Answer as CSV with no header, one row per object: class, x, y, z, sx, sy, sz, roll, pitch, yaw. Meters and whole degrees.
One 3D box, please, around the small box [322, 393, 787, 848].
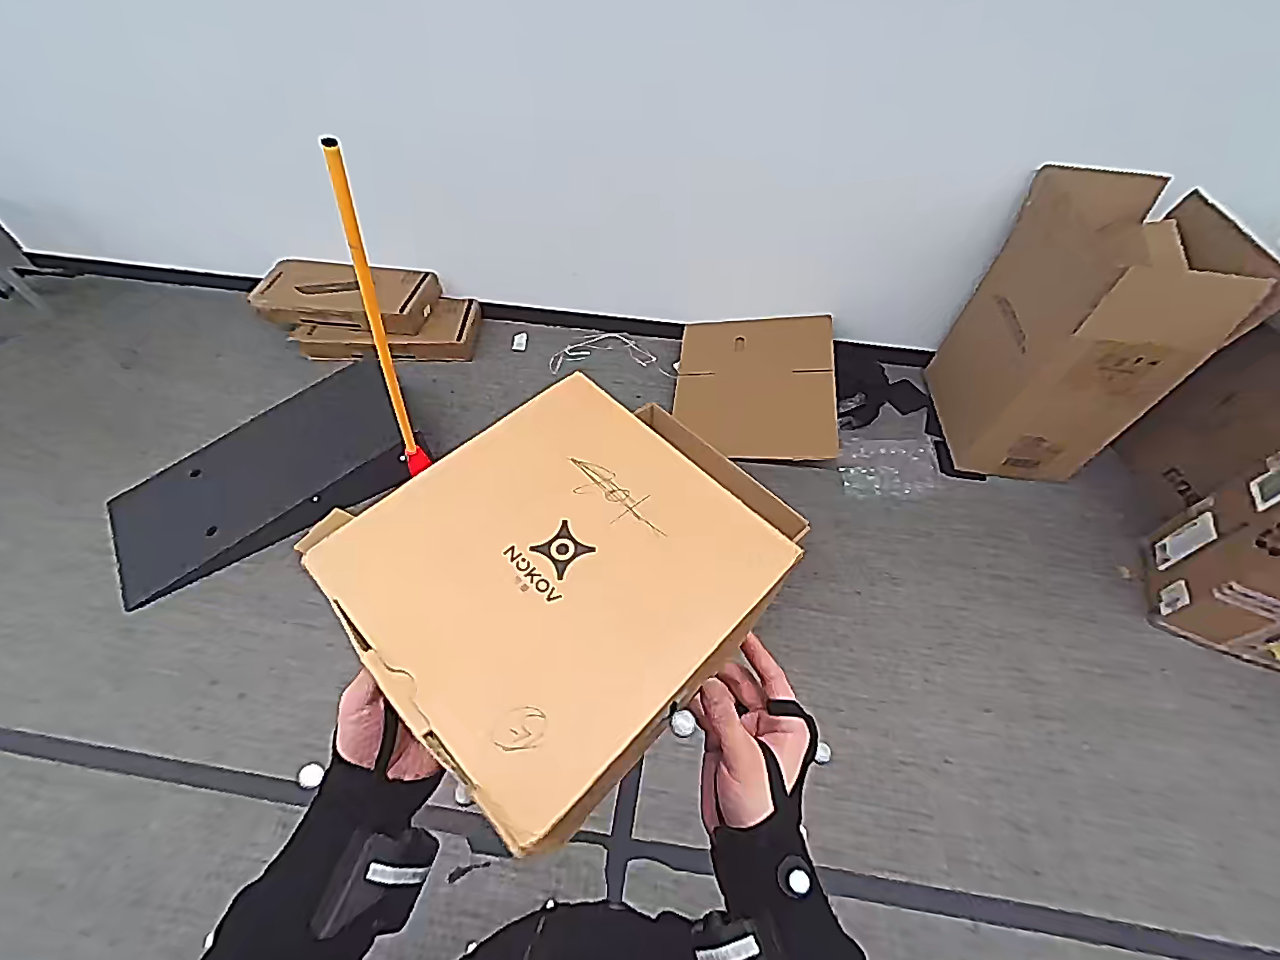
small box,-0.042,0.088,0.335,0.168,0.176,0.179,40,63,20
